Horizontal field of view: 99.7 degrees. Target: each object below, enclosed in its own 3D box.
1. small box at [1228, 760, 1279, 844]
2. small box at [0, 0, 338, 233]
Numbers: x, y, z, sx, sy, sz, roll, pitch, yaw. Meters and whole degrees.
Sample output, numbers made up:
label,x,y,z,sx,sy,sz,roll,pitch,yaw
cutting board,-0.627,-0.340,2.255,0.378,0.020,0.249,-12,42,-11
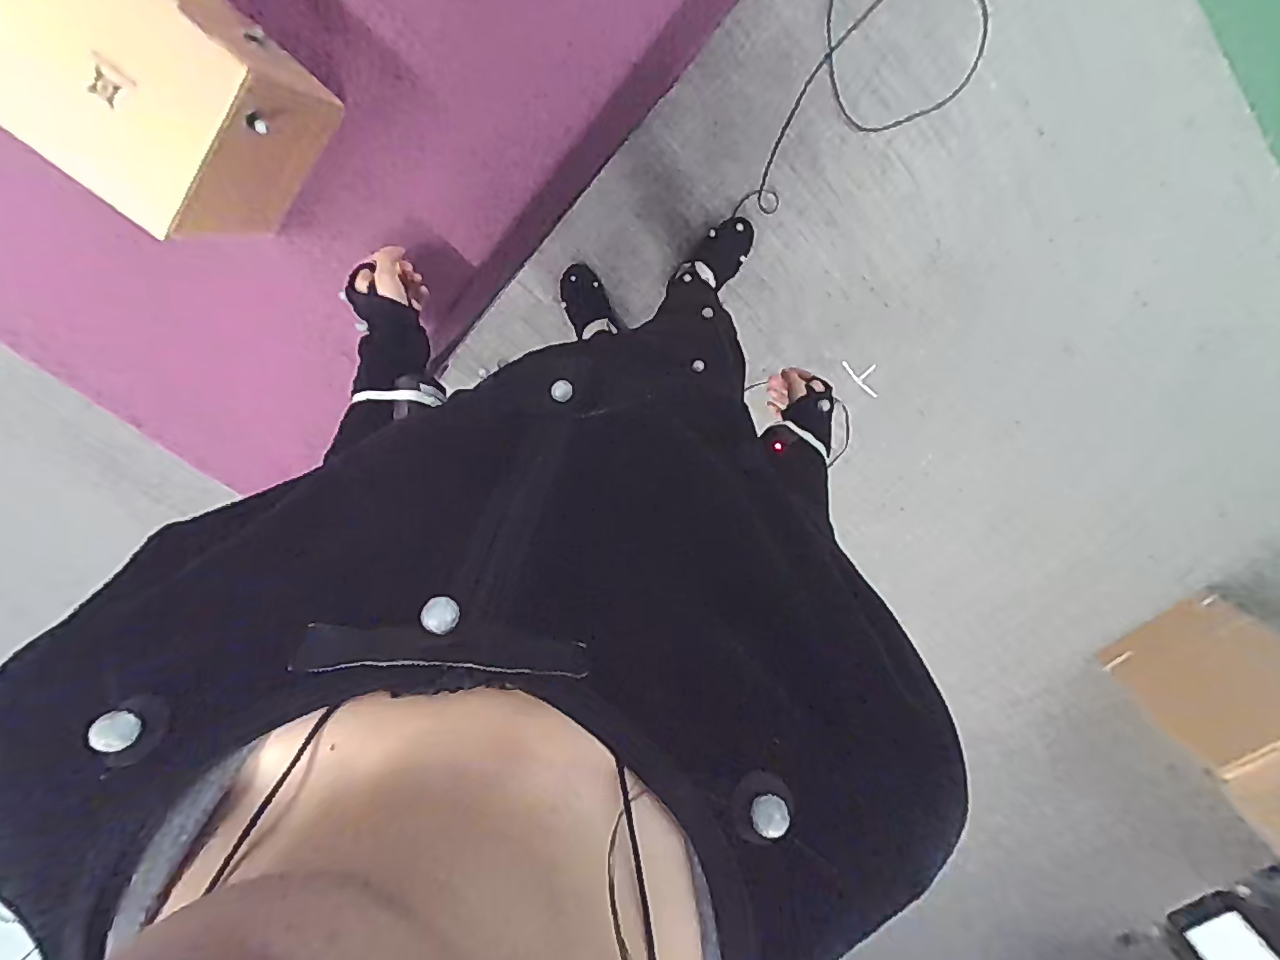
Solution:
label,x,y,z,sx,sy,sz,roll,pitch,yaw
small box,1.732,0.869,1.418,0.179,0.176,0.168,-41,107,16
small box,-0.432,-0.362,0.517,0.168,0.176,0.179,38,108,-17
